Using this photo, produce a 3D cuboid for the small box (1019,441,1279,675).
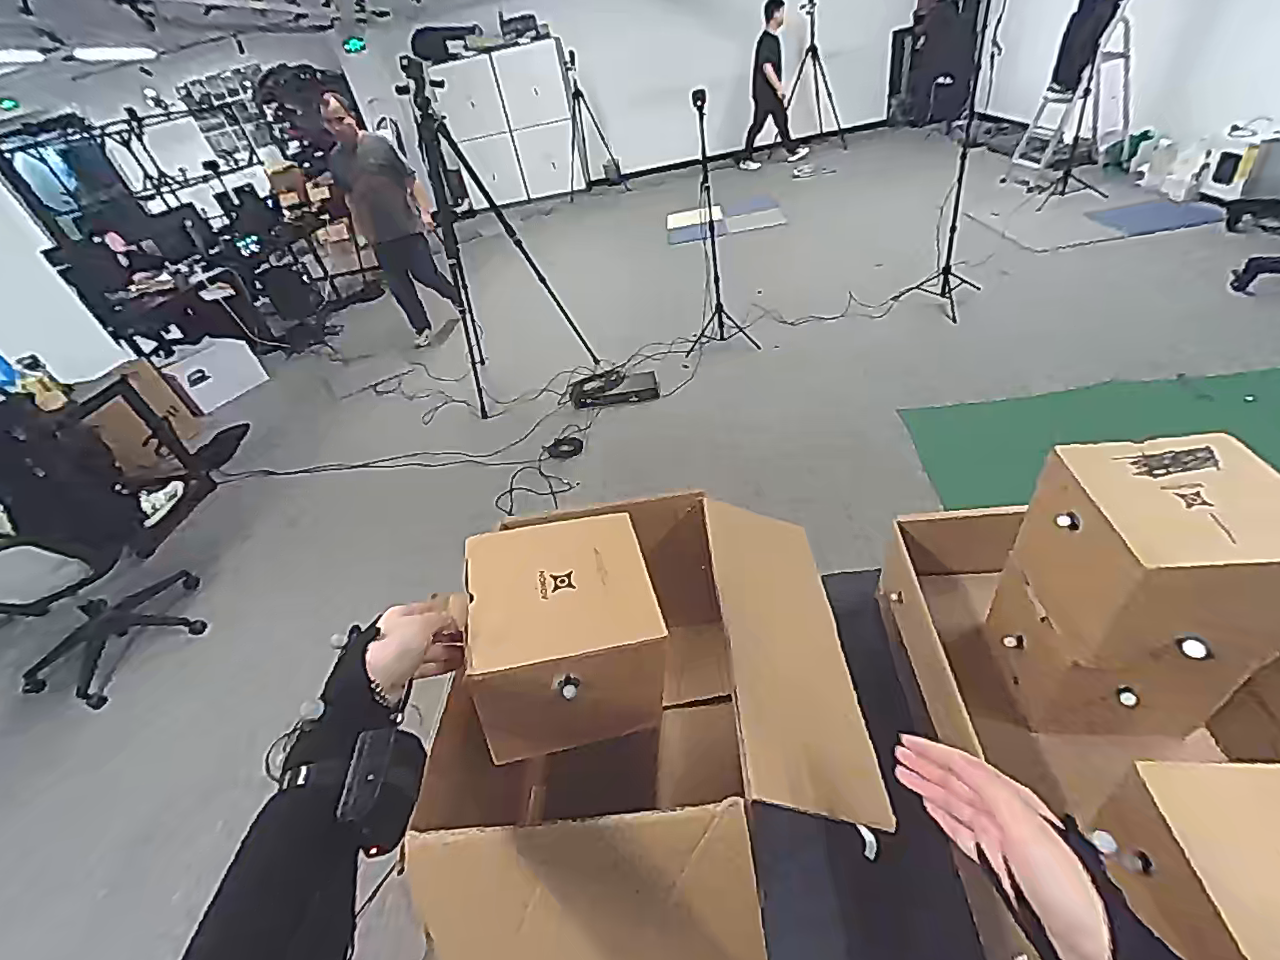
[{"bbox_3d":[0.538,0.081,0.570,0.168,0.176,0.179,-5,40,11],"label":"small box"}]
